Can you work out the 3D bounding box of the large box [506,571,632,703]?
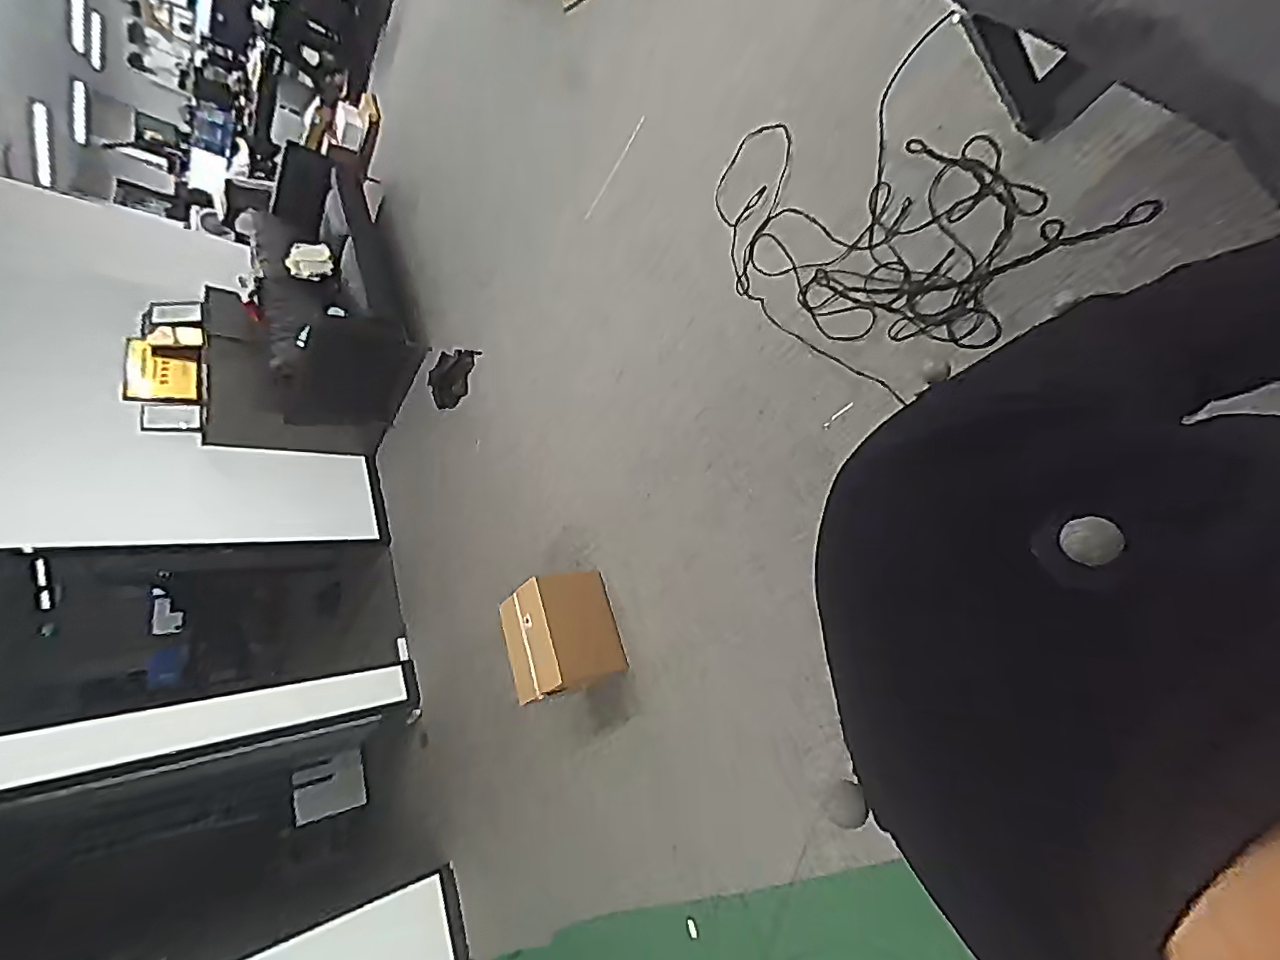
[{"bbox_3d":[-0.285,0.608,2.128,0.320,0.320,0.408,-41,58,38],"label":"large box"}]
